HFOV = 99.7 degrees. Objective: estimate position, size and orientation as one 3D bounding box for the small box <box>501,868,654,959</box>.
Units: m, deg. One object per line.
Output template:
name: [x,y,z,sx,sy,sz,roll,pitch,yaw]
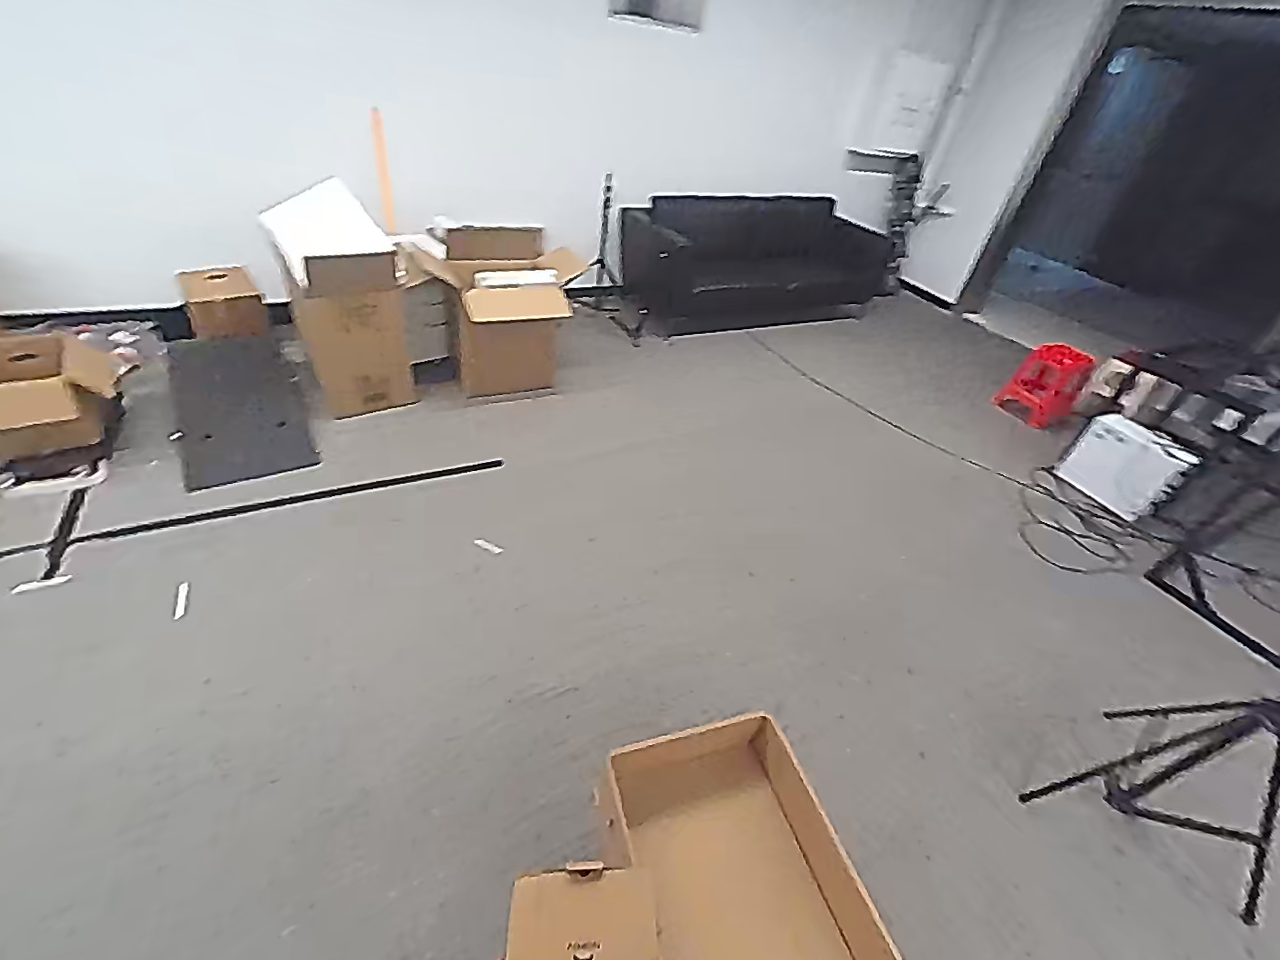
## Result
small box: [-0.072,0.577,0.615,0.168,0.176,0.179,1,36,-5]
